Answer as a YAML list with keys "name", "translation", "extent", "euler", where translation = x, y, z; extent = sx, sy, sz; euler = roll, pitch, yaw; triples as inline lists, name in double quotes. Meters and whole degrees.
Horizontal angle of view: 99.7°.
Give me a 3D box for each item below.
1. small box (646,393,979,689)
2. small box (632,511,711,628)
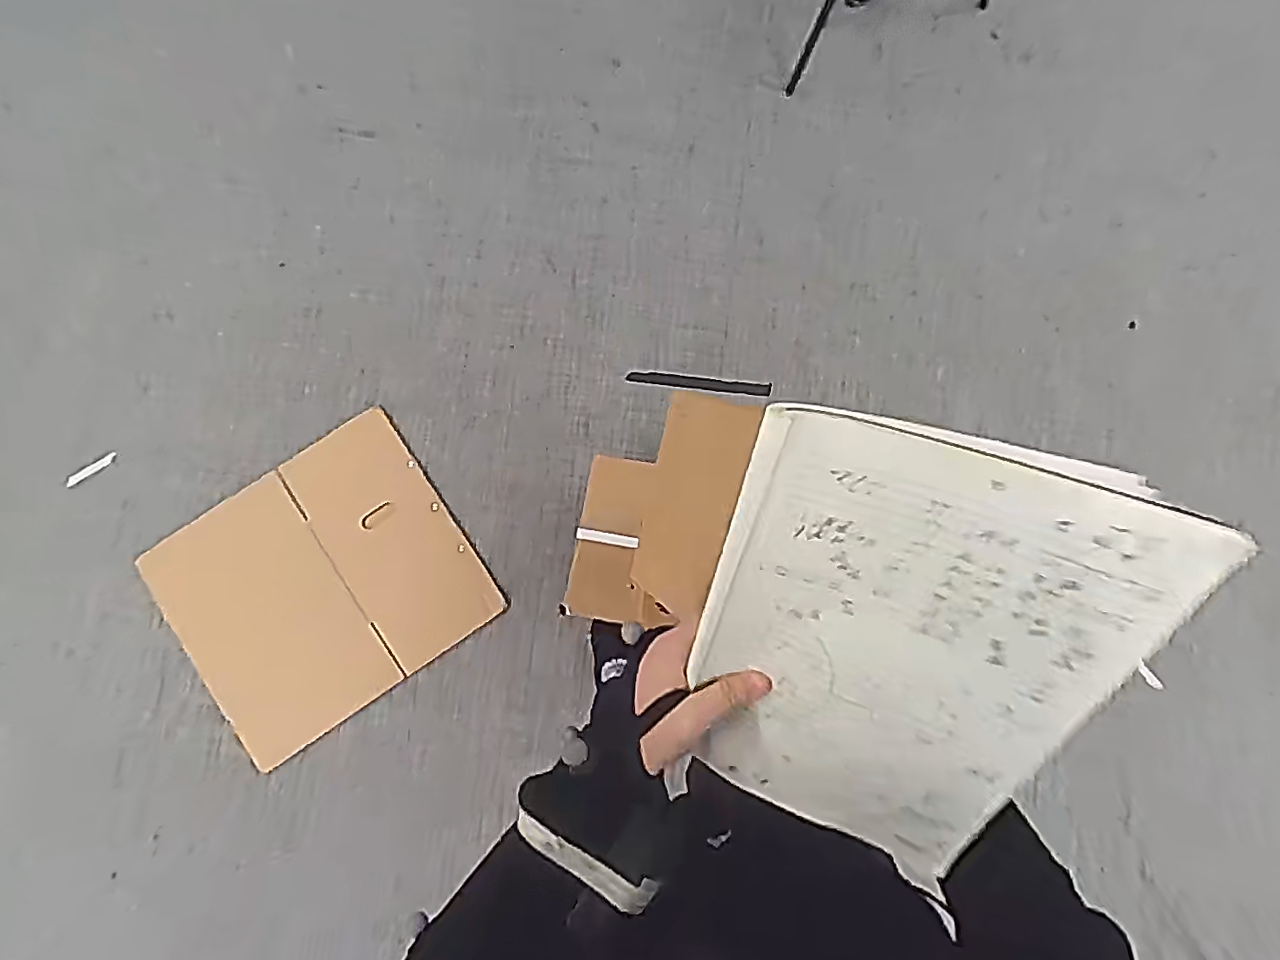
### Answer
- name: "small box"
  translation: [0.124, 0.034, 0.436]
  extent: [0.168, 0.176, 0.179]
  euler: [5, 105, -32]
- name: "small box"
  translation: [0.076, 0.149, 0.932]
  extent: [0.168, 0.176, 0.179]
  euler: [5, 84, -1]
